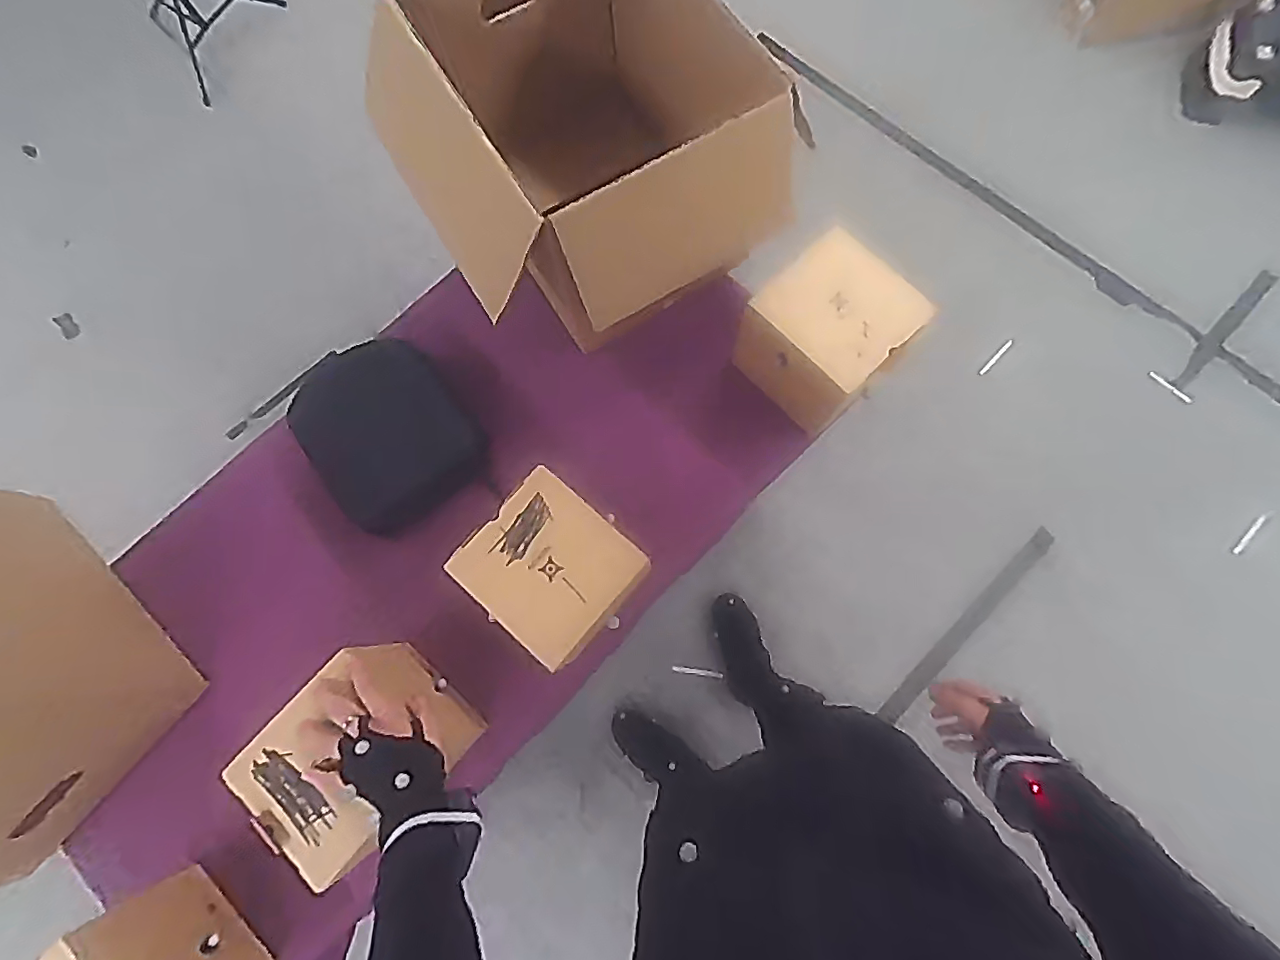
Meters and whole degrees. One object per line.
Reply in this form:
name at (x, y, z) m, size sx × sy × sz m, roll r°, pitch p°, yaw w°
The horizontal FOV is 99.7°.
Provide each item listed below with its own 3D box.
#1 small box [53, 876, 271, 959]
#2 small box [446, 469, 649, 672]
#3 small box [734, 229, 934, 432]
small box at (-0.566, 0.600, 0.594) m, size 0.168 × 0.176 × 0.179 m, roll 40°, pitch 80°, yaw 11°
small box at (-0.105, 0.118, 0.692) m, size 0.179 × 0.176 × 0.168 m, roll 40°, pitch 81°, yaw 10°
small box at (0.250, -0.194, 0.751) m, size 0.168 × 0.176 × 0.179 m, roll -42°, pitch 78°, yaw -7°
